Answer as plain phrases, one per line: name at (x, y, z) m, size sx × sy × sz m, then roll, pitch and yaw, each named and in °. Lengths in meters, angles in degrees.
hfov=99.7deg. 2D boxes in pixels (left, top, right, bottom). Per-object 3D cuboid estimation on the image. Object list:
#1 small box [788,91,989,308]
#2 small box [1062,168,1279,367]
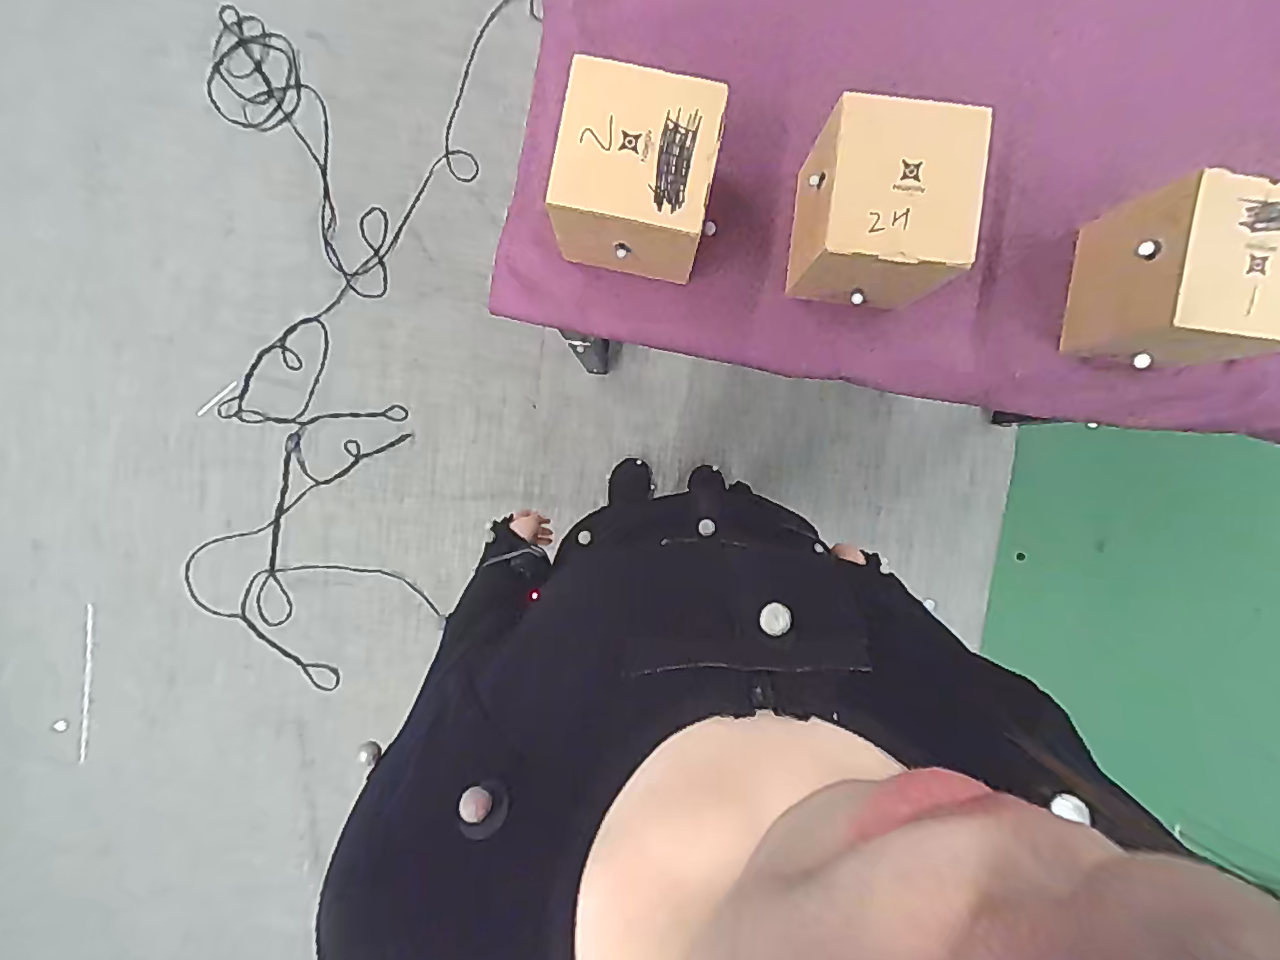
small box at (0.291, -0.331, 0.670) m, size 0.168 × 0.176 × 0.179 m, roll 6°, pitch 92°, yaw 0°
small box at (0.678, -0.250, 0.677) m, size 0.168 × 0.176 × 0.179 m, roll 8°, pitch 93°, yaw 0°
